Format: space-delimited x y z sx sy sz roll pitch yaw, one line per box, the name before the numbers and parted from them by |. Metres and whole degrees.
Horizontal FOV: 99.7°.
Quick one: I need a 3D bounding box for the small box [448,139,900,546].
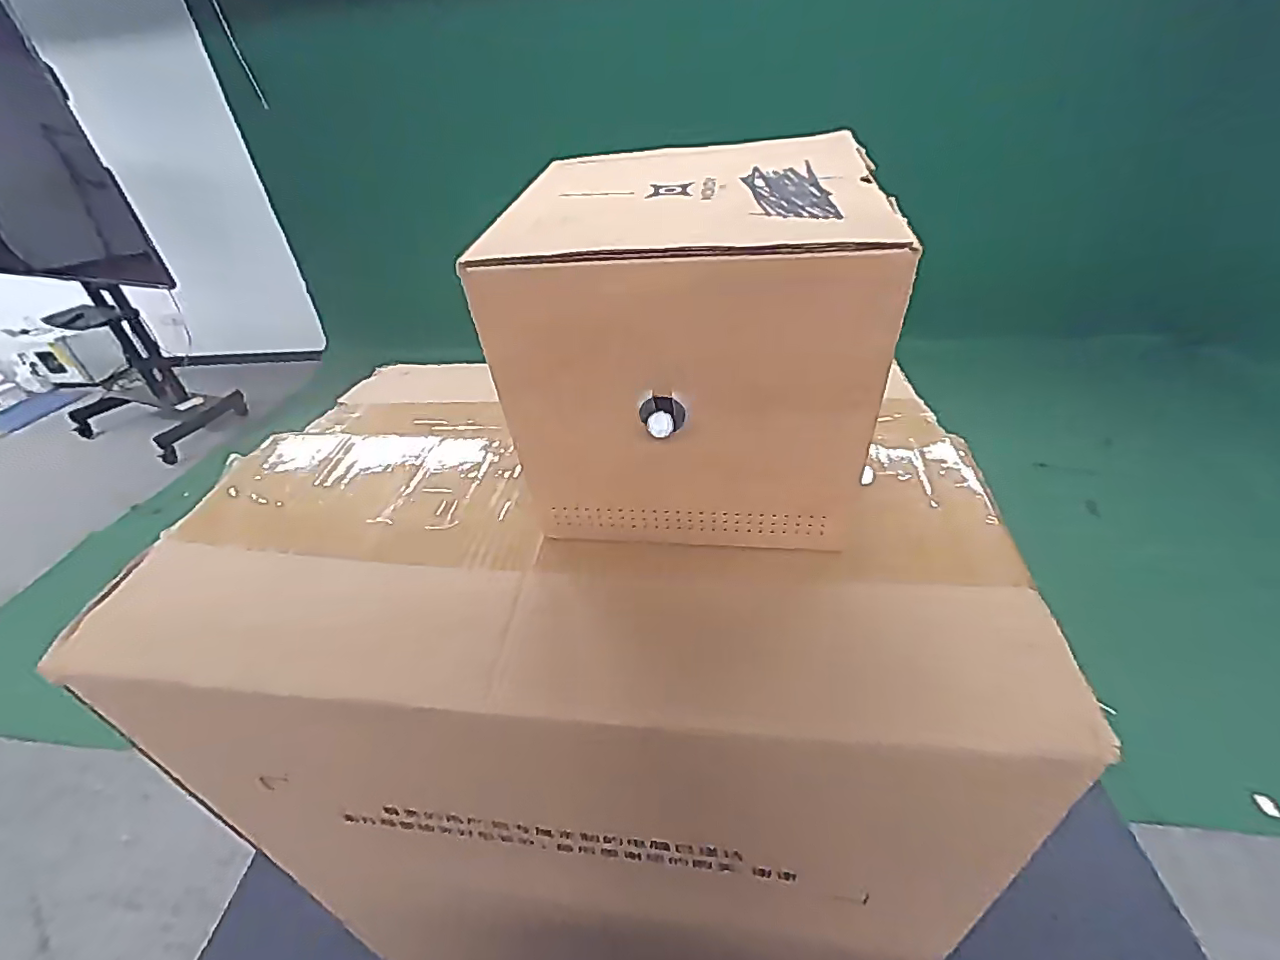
small box | 0.026 -0.076 0.314 0.179 0.176 0.168 1 43 10
